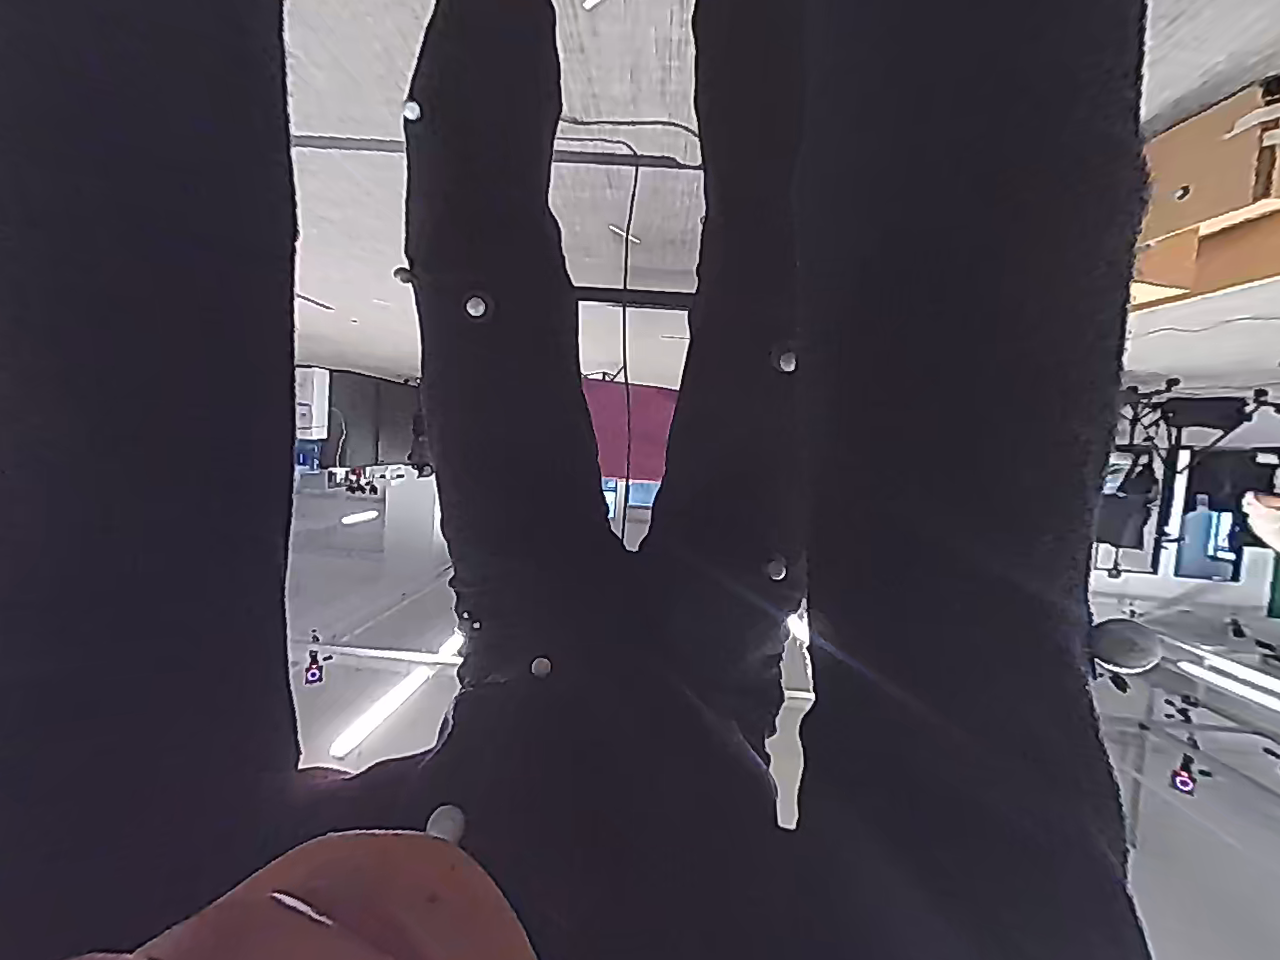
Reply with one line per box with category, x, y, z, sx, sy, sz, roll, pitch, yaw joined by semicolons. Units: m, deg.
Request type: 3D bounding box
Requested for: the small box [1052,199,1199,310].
small box;1.046;-0.484;1.171;0.179;0.176;0.168;4;-177;-12
